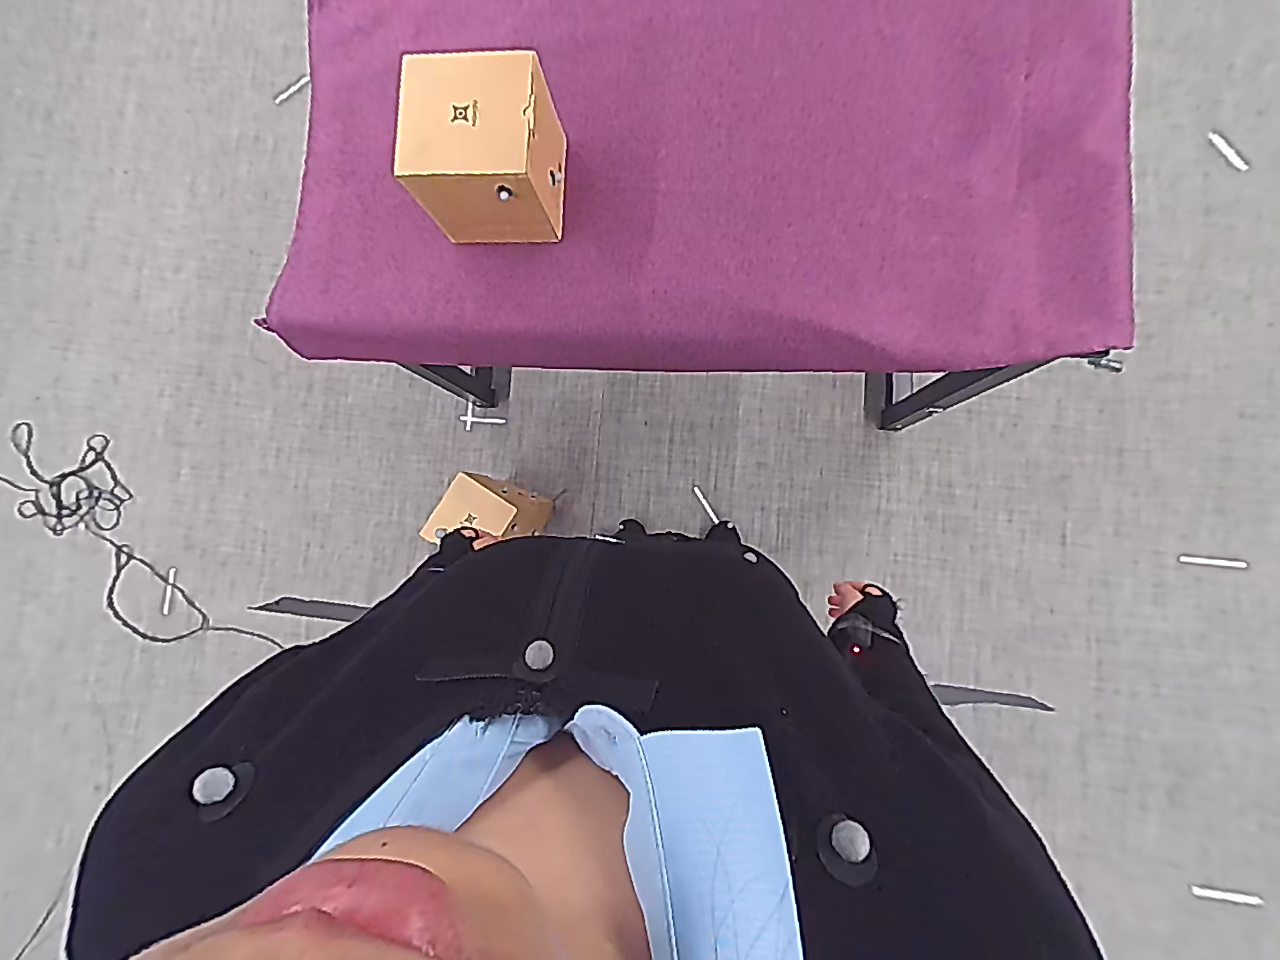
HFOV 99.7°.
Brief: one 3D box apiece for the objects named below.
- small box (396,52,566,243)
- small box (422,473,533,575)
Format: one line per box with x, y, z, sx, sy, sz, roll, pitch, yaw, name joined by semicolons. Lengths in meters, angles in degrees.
-0.211;-0.451;0.758;0.179;0.176;0.168;2;85;5;small box
-0.377;0.103;1.297;0.168;0.176;0.179;33;90;7;small box
